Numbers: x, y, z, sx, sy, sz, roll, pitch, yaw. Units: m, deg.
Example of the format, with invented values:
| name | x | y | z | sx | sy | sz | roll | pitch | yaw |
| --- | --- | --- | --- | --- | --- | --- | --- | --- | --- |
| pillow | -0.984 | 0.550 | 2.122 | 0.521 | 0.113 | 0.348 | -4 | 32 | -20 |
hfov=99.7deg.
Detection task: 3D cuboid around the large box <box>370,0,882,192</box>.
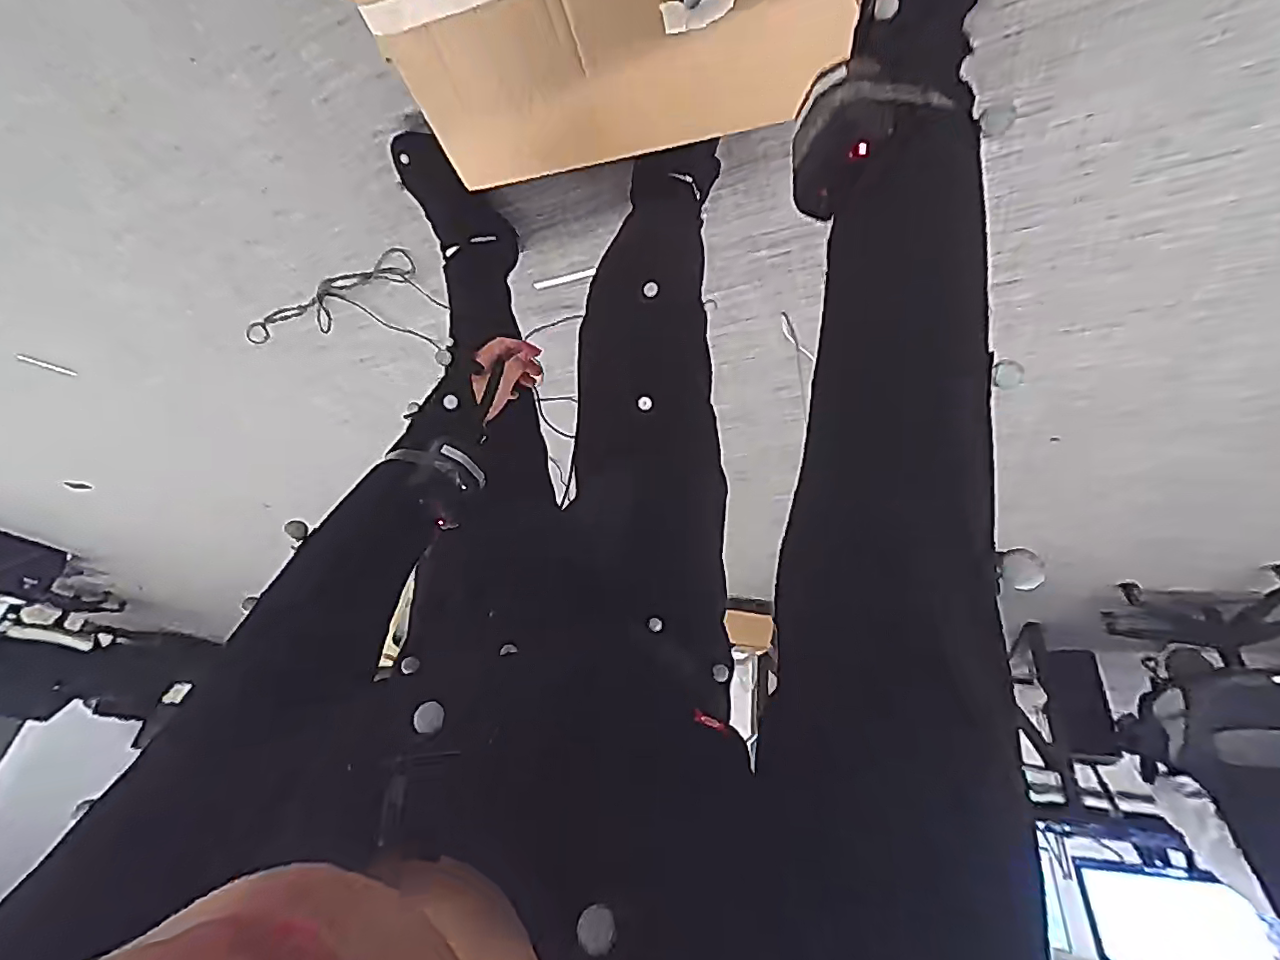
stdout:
| name | x | y | z | sx | sy | sz | roll | pitch | yaw |
| --- | --- | --- | --- | --- | --- | --- | --- | --- | --- |
| large box | -0.016 | -0.525 | 0.474 | 0.408 | 0.320 | 0.320 | -4 | 149 | 16 |
